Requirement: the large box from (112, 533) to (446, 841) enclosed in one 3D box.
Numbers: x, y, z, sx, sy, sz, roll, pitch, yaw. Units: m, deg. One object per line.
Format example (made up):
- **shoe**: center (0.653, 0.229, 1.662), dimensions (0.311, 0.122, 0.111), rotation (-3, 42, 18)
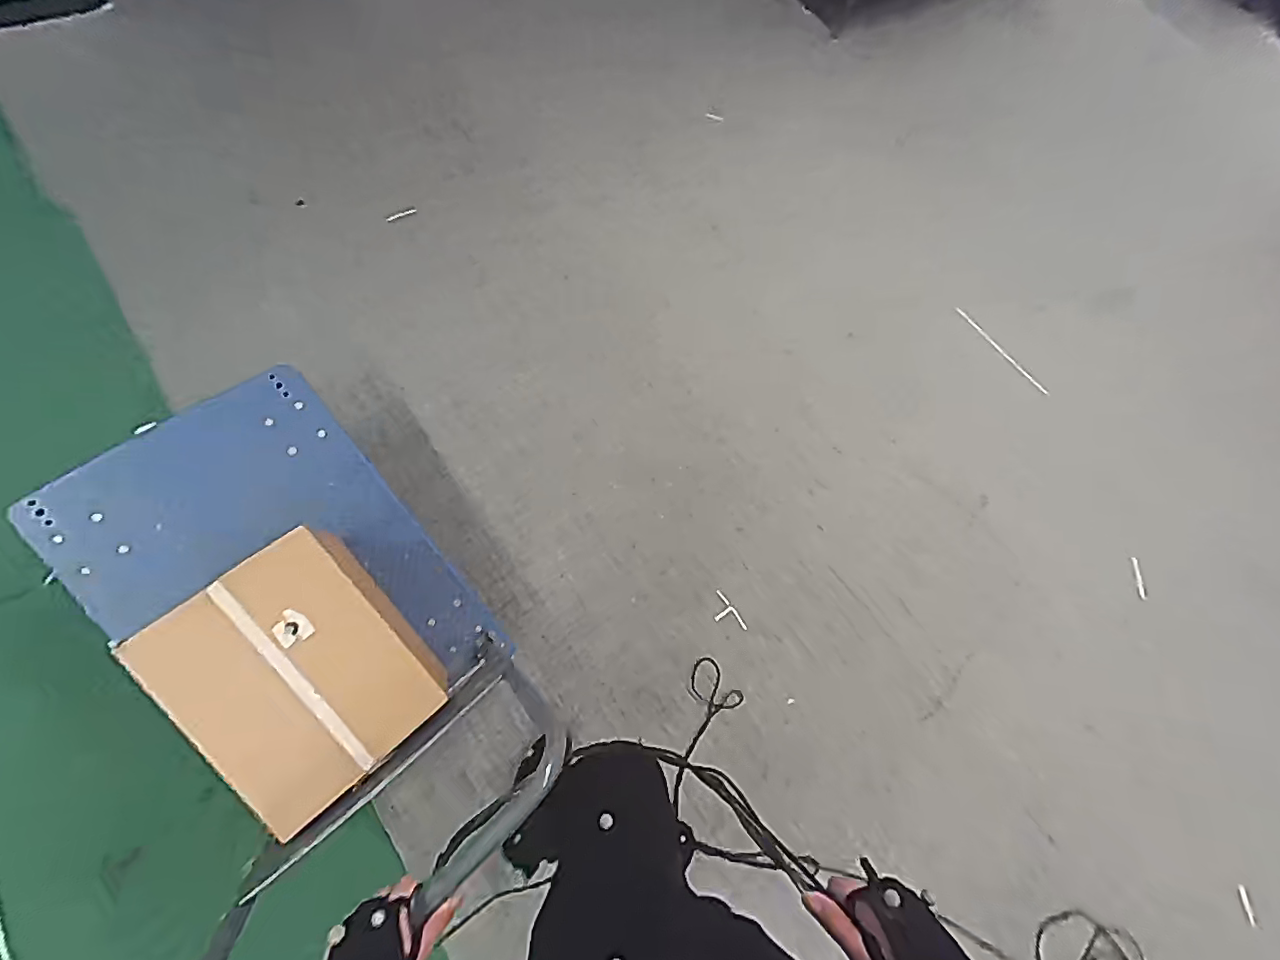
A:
- **large box**: center (-0.623, 0.358, 1.030), dimensions (0.320, 0.320, 0.408), rotation (-40, 94, -22)
